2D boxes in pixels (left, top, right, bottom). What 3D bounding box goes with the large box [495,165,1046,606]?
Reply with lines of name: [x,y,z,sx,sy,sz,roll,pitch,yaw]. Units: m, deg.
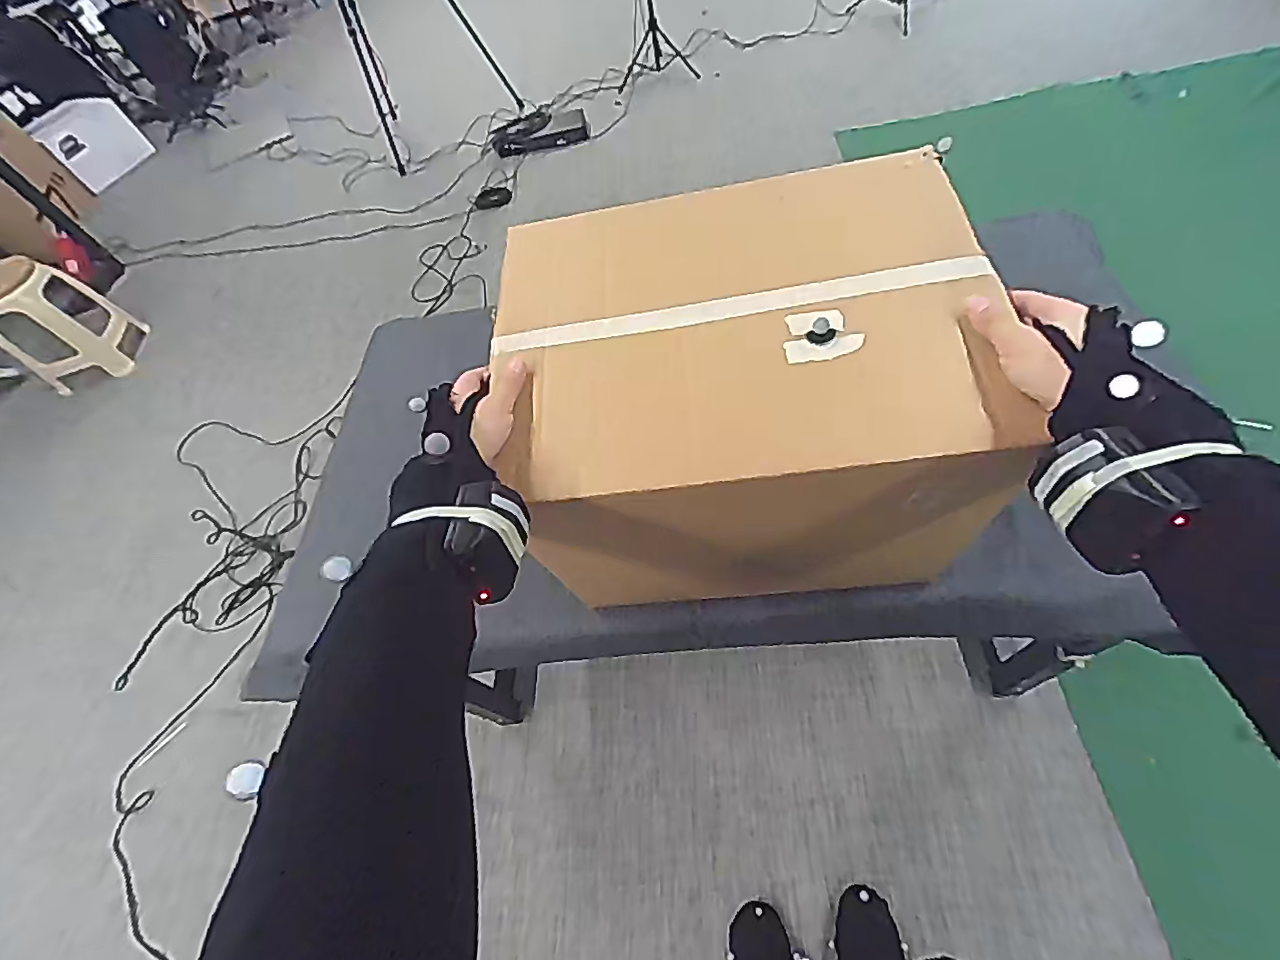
large box: [0.098,-0.069,0.588,0.408,0.320,0.320,-7,62,7]
